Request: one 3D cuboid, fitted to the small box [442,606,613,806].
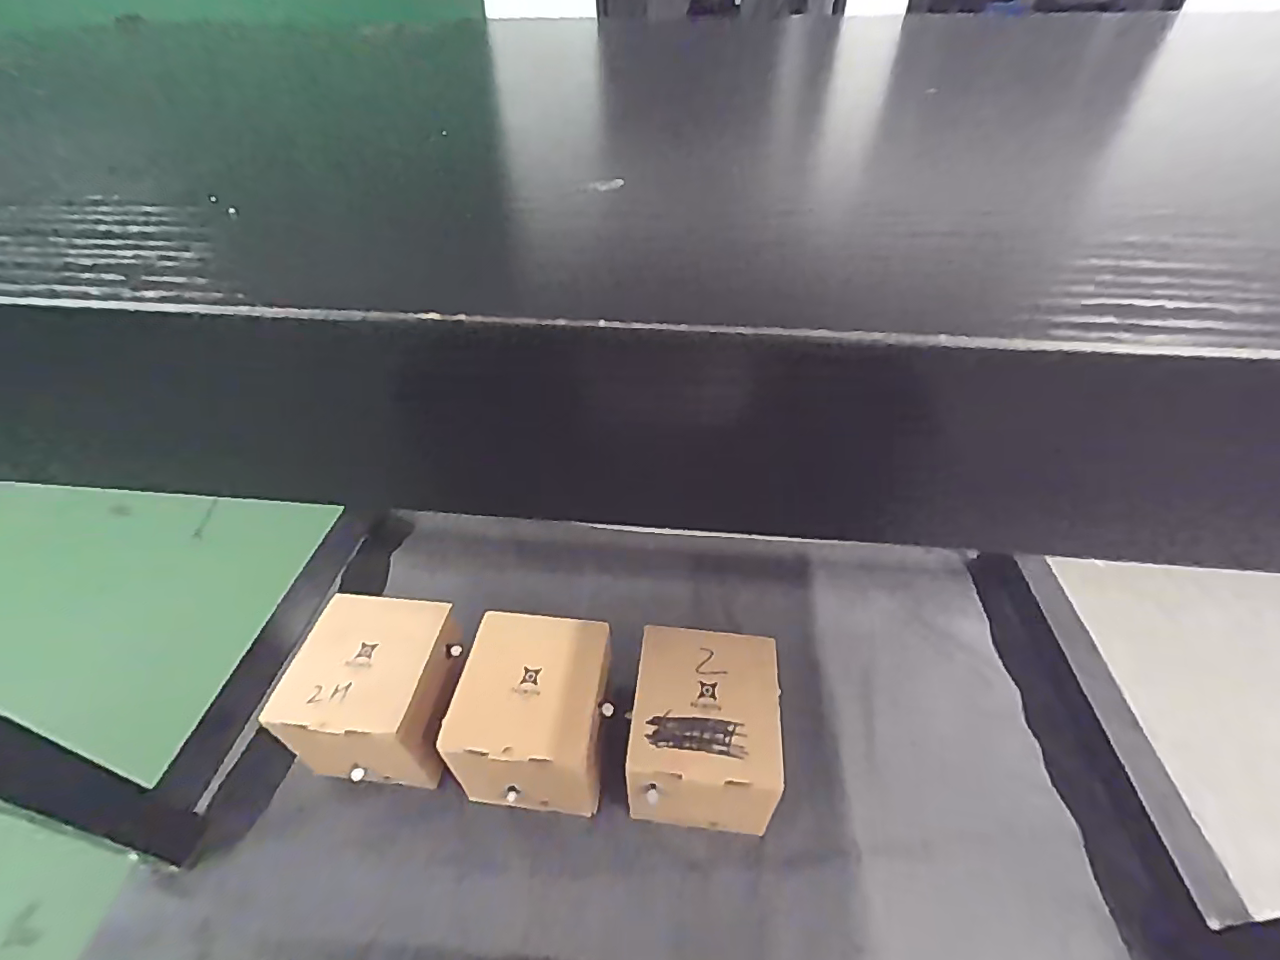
[{"bbox_3d":[-0.129,0.290,0.698,0.168,0.176,0.179,5,44,5],"label":"small box"}]

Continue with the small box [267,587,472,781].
[{"bbox_3d":[-0.334,0.269,0.719,0.168,0.176,0.179,4,44,5],"label":"small box"}]
